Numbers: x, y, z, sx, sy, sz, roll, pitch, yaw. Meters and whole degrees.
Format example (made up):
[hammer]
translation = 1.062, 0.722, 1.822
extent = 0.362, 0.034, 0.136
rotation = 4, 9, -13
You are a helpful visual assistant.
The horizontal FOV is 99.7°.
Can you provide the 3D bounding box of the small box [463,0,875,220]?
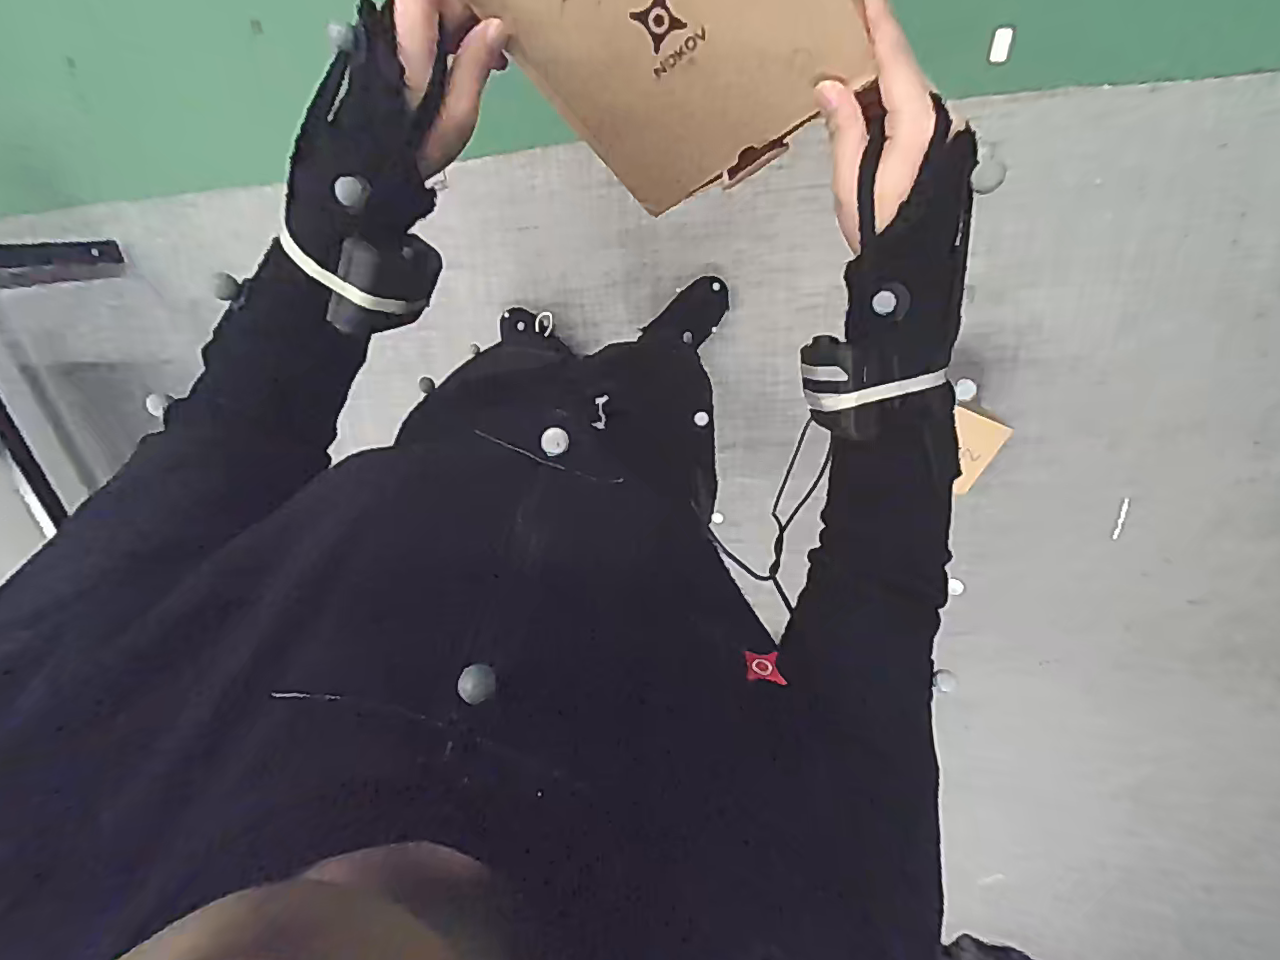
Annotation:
[small box]
translation = 0.032, -0.310, 0.324
extent = 0.168, 0.176, 0.179
rotation = -12, 144, 43
